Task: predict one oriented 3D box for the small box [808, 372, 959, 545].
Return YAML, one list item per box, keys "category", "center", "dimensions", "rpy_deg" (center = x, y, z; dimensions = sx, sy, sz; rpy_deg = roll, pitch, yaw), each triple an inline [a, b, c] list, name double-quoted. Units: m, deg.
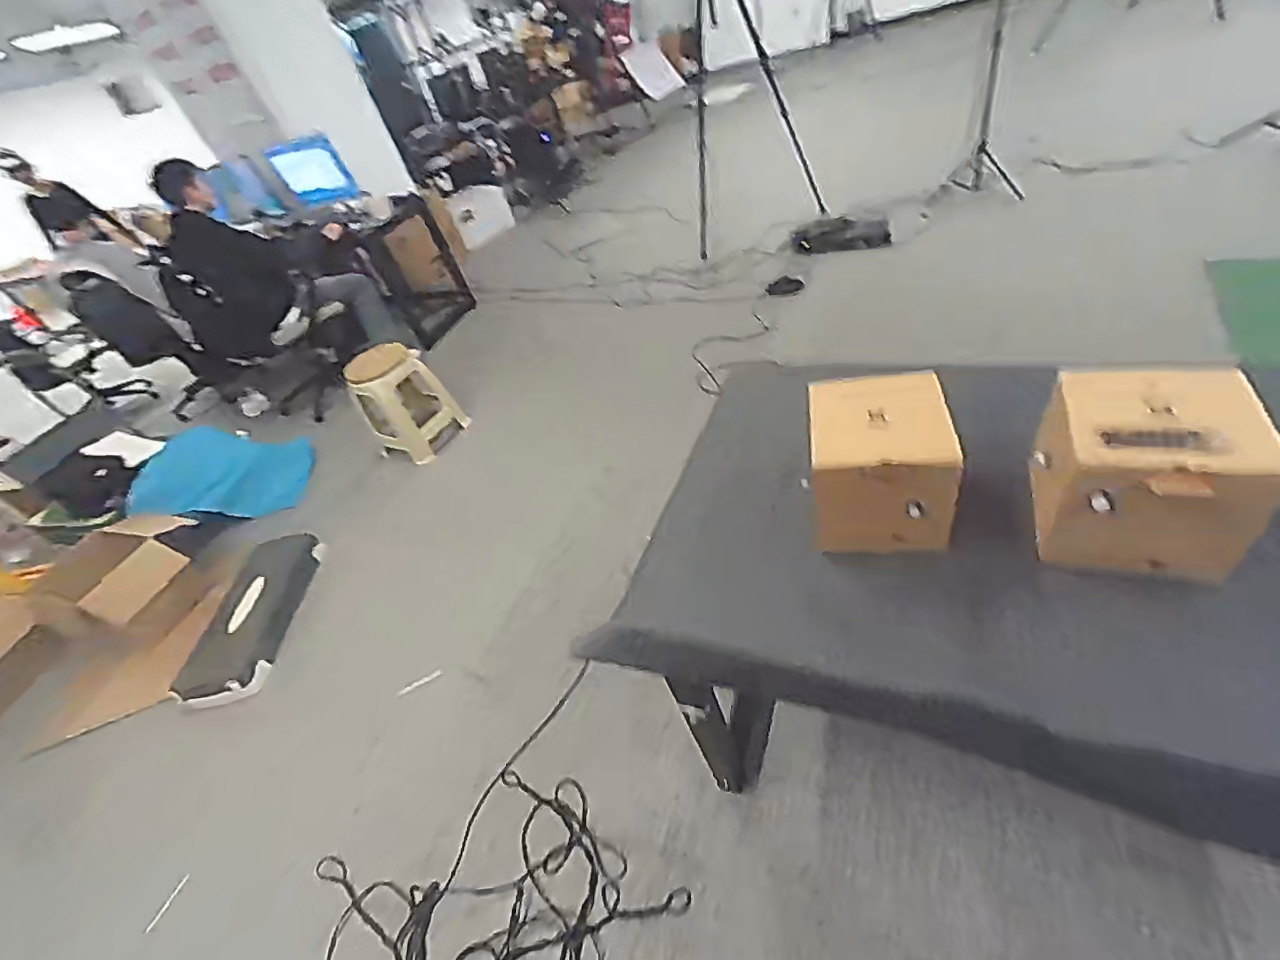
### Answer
- category: "small box"
  center: [0.322, -0.024, 0.746]
  dimensions: [0.168, 0.176, 0.179]
  rpy_deg: [-2, 43, 17]
